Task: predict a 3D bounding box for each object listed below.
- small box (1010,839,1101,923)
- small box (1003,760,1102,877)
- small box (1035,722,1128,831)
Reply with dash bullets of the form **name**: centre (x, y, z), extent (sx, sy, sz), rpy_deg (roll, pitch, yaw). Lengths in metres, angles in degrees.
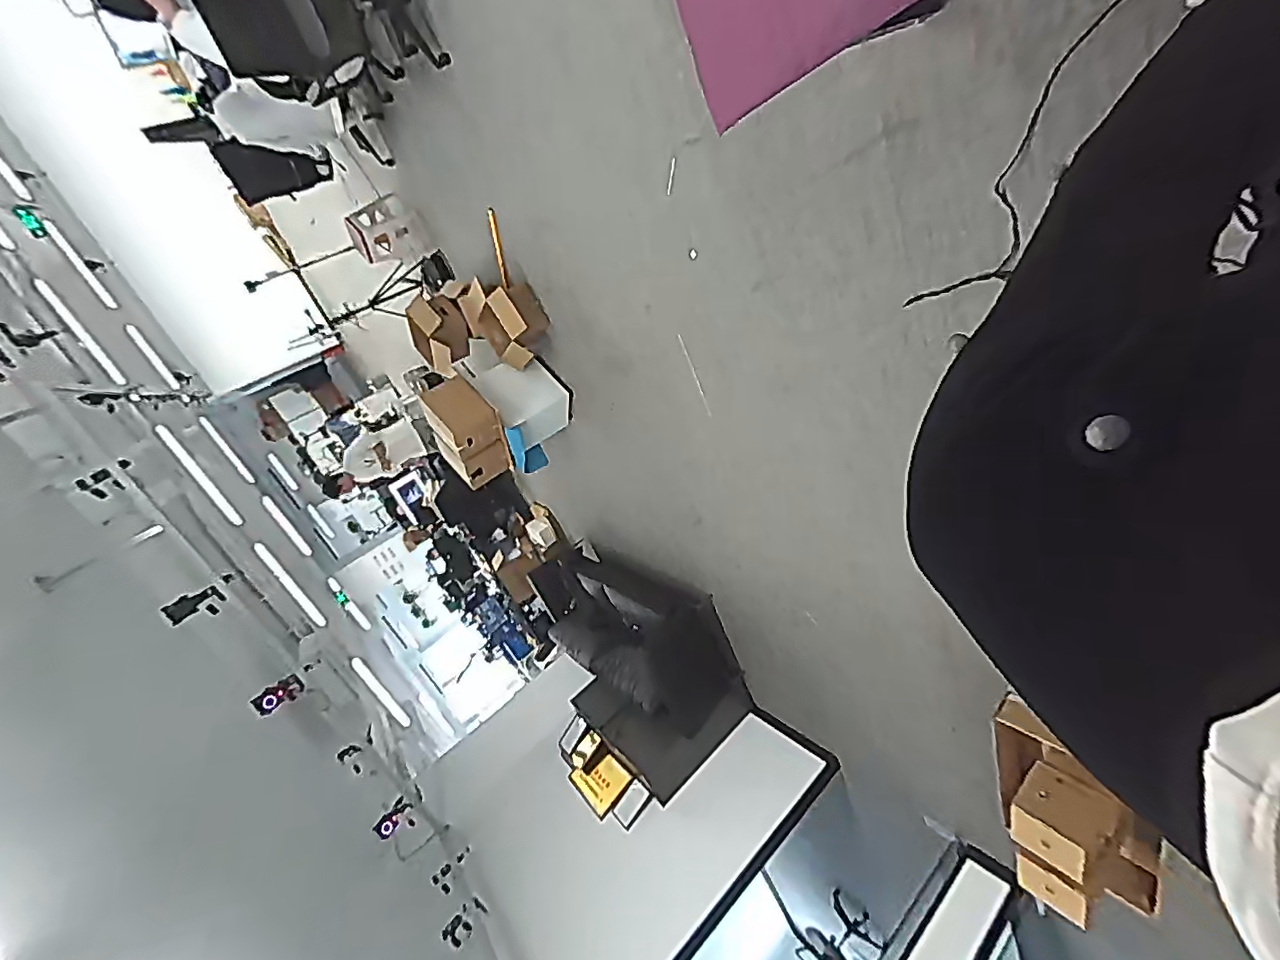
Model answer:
- **small box**: centre (1.199, 1.104, 1.561), extent (0.168, 0.176, 0.179), rpy_deg (18, 135, 53)
- **small box**: centre (1.110, 0.902, 1.456), extent (0.168, 0.176, 0.179), rpy_deg (22, 140, 51)
- **small box**: centre (1.238, 0.824, 1.521), extent (0.168, 0.176, 0.179), rpy_deg (18, 138, 53)
